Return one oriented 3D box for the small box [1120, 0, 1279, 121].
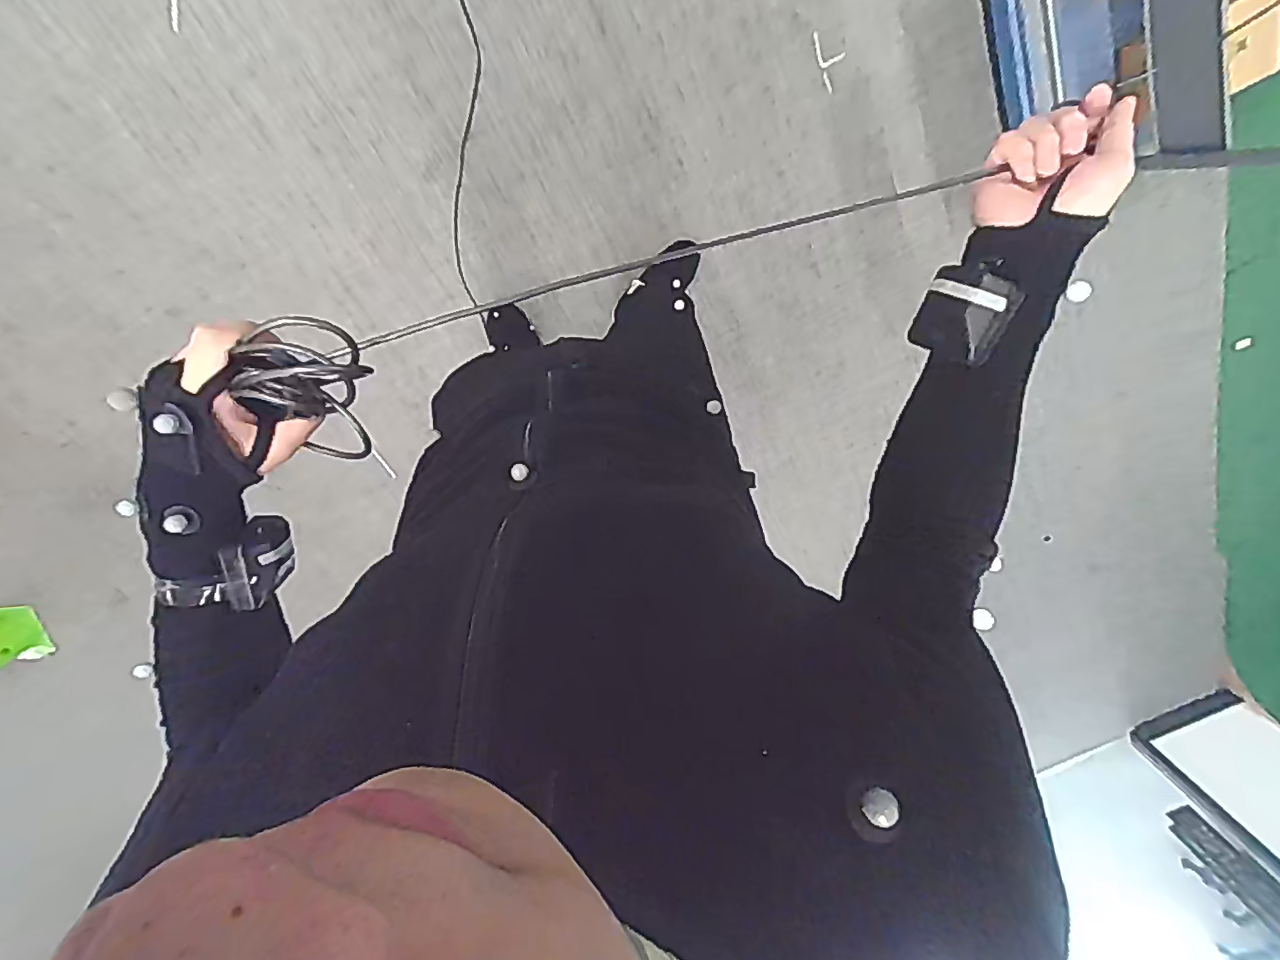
[{"bbox_3d":[1.179,-0.899,1.147,0.179,0.176,0.168,-26,116,7],"label":"small box"}]
